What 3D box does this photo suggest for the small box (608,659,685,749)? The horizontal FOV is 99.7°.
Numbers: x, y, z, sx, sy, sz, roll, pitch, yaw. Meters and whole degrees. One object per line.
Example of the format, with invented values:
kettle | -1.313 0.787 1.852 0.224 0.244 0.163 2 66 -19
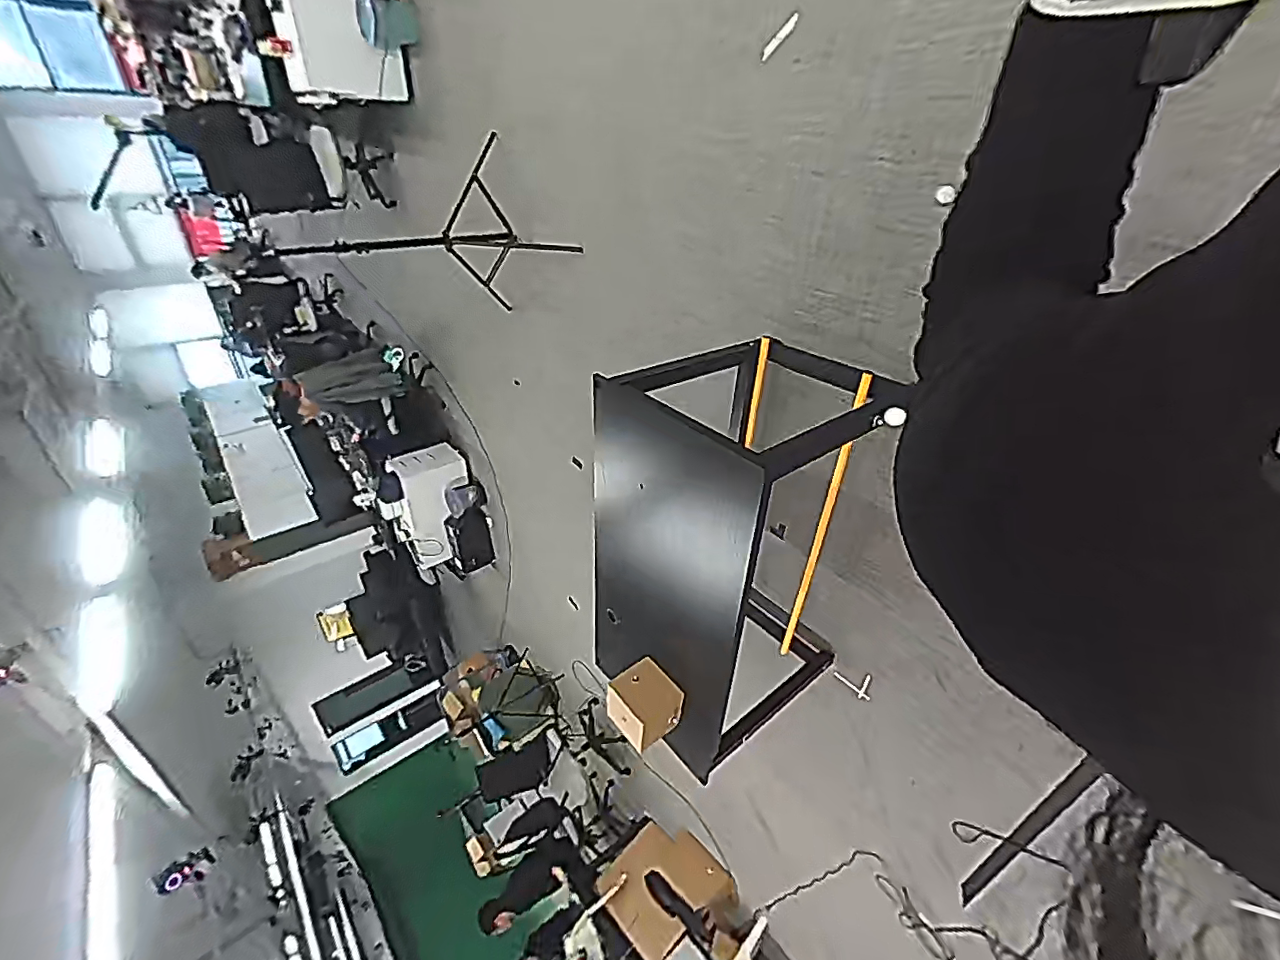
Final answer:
small box | 0.017 0.691 1.699 0.179 0.176 0.168 36 137 38
